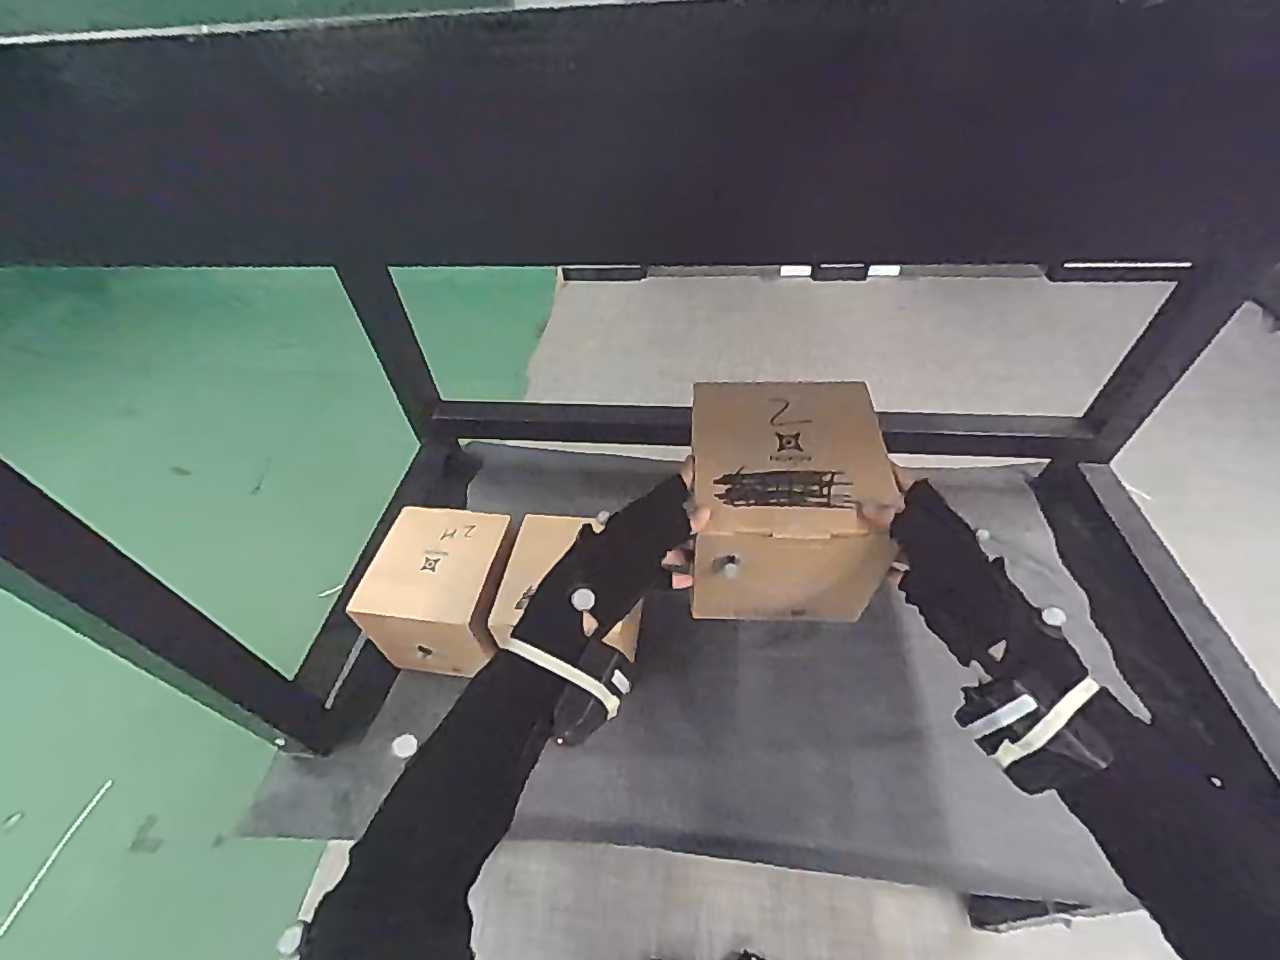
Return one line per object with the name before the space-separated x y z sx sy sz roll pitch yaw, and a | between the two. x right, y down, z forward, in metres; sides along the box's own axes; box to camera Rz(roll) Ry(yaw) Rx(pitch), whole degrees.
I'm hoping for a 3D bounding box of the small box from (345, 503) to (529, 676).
small box | -0.270 0.158 0.771 0.168 0.176 0.179 5 48 8
